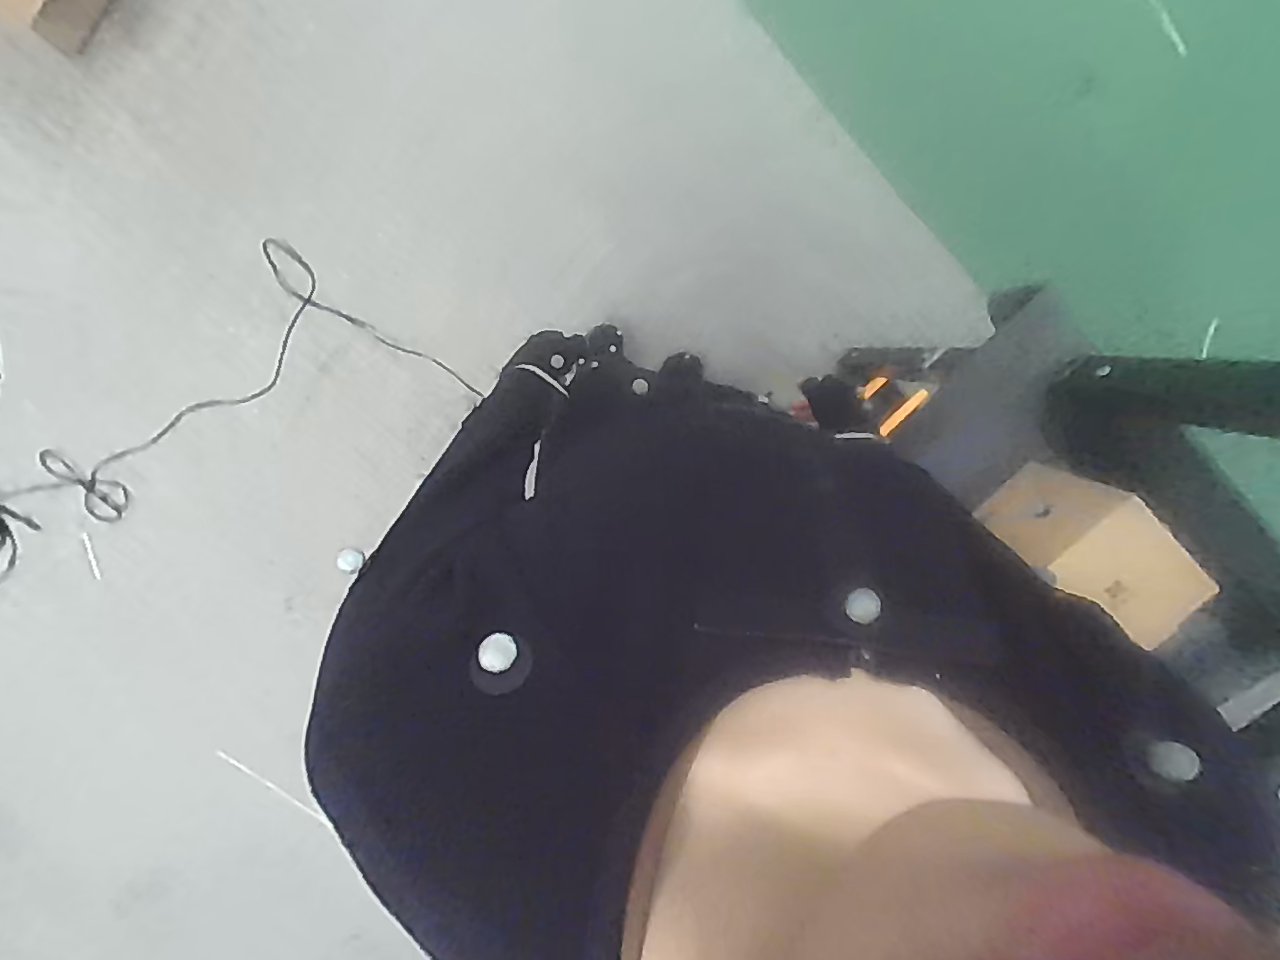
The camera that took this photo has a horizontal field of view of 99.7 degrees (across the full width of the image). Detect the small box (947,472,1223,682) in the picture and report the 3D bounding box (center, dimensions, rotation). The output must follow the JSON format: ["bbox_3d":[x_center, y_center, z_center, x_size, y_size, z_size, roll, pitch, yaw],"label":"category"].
[{"bbox_3d":[0.540,0.108,0.686,0.179,0.176,0.168,42,101,-10],"label":"small box"}]
